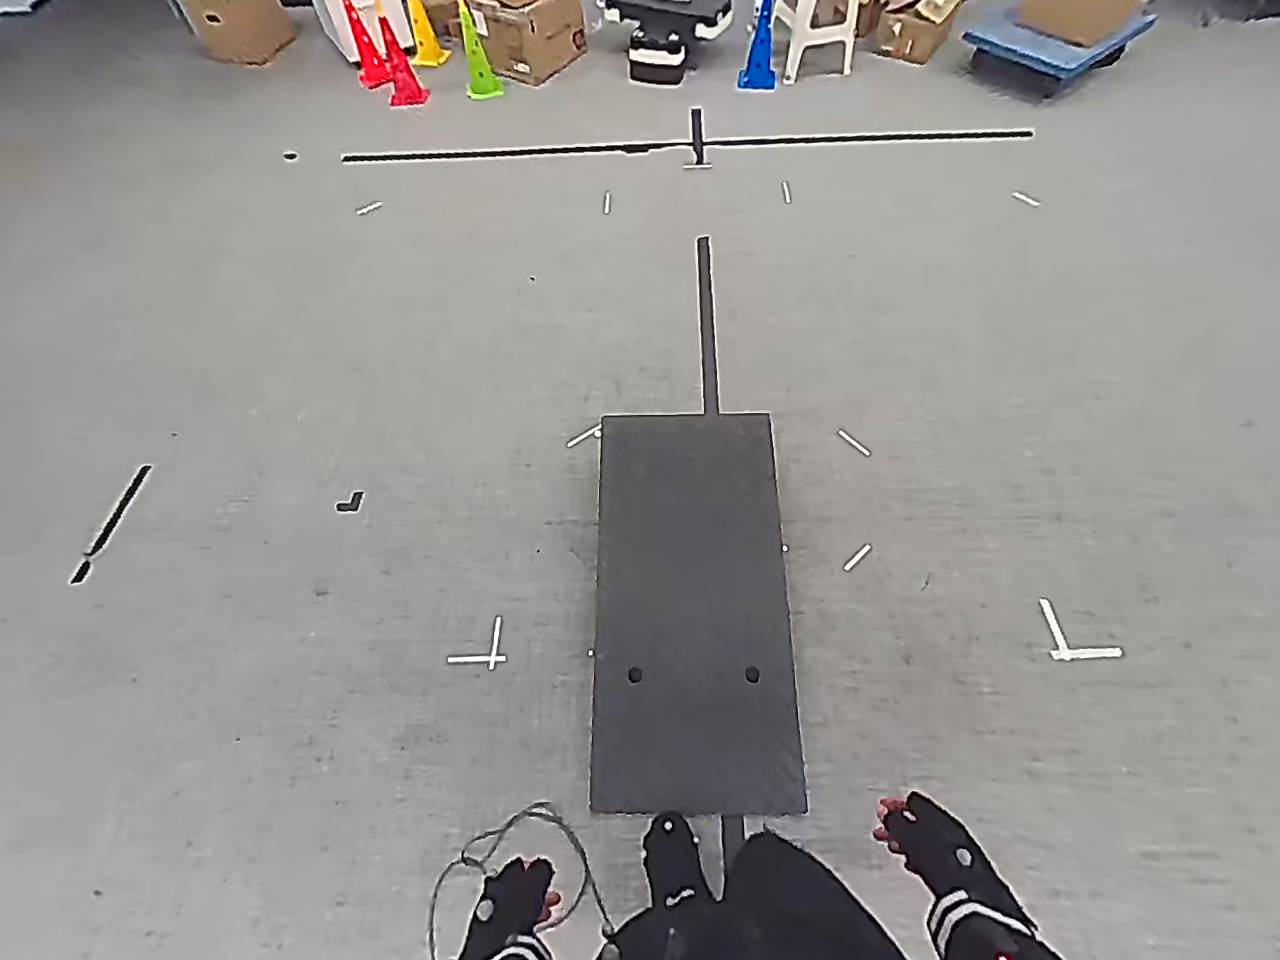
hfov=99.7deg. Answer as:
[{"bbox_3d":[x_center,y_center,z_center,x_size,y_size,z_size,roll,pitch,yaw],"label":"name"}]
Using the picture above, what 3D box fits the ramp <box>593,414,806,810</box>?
[{"bbox_3d":[0.132,0.280,1.399,0.509,0.206,0.991,-2,59,0],"label":"ramp"}]
